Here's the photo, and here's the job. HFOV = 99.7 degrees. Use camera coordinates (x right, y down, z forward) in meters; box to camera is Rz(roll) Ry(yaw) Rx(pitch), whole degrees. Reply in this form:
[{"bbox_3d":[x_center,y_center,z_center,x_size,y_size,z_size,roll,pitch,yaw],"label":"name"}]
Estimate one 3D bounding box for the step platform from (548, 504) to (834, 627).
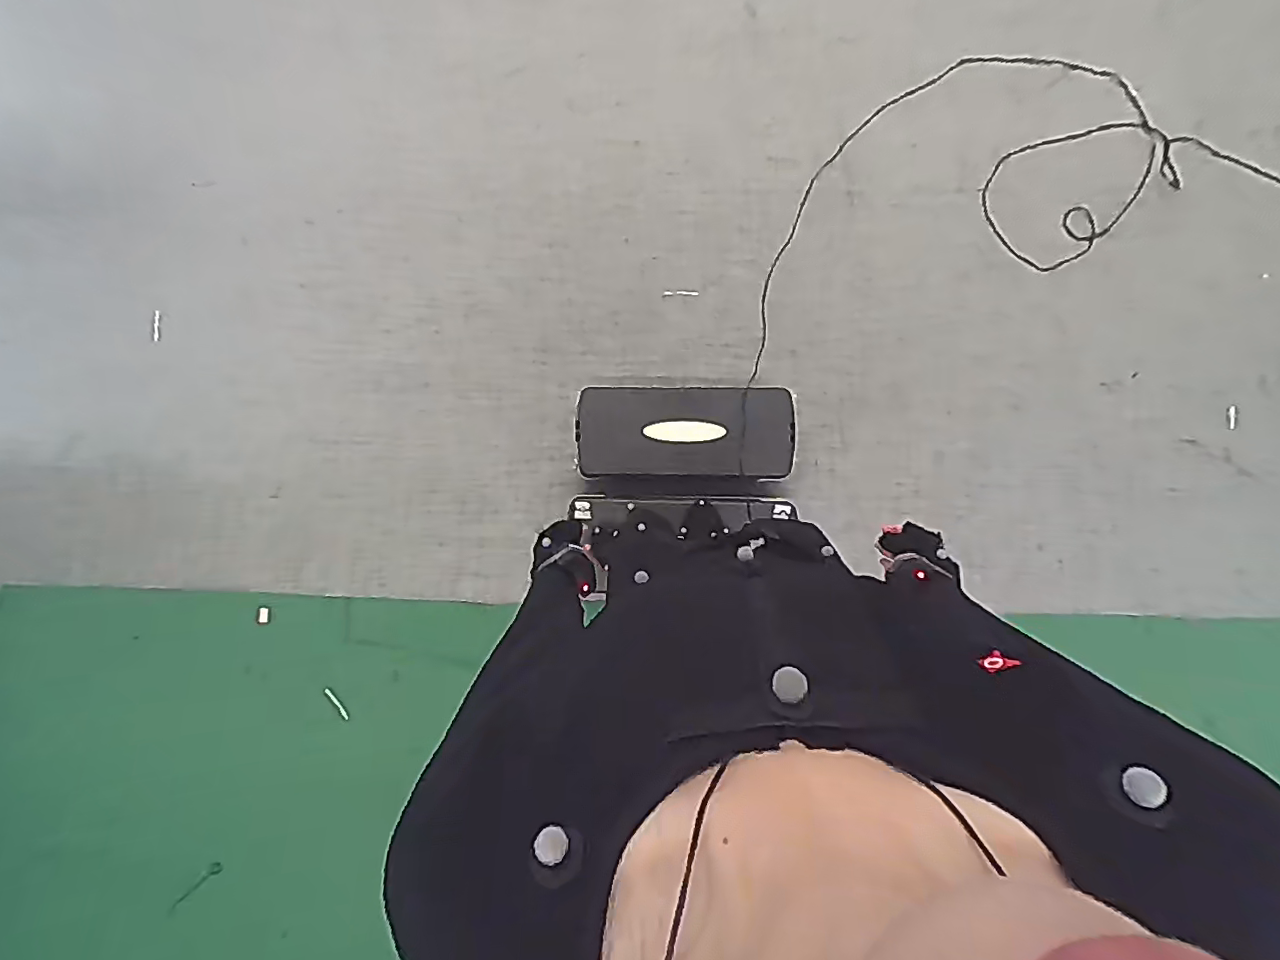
[{"bbox_3d":[0.123,0.208,1.383,0.684,0.204,0.286,1,86,1],"label":"step platform"}]
